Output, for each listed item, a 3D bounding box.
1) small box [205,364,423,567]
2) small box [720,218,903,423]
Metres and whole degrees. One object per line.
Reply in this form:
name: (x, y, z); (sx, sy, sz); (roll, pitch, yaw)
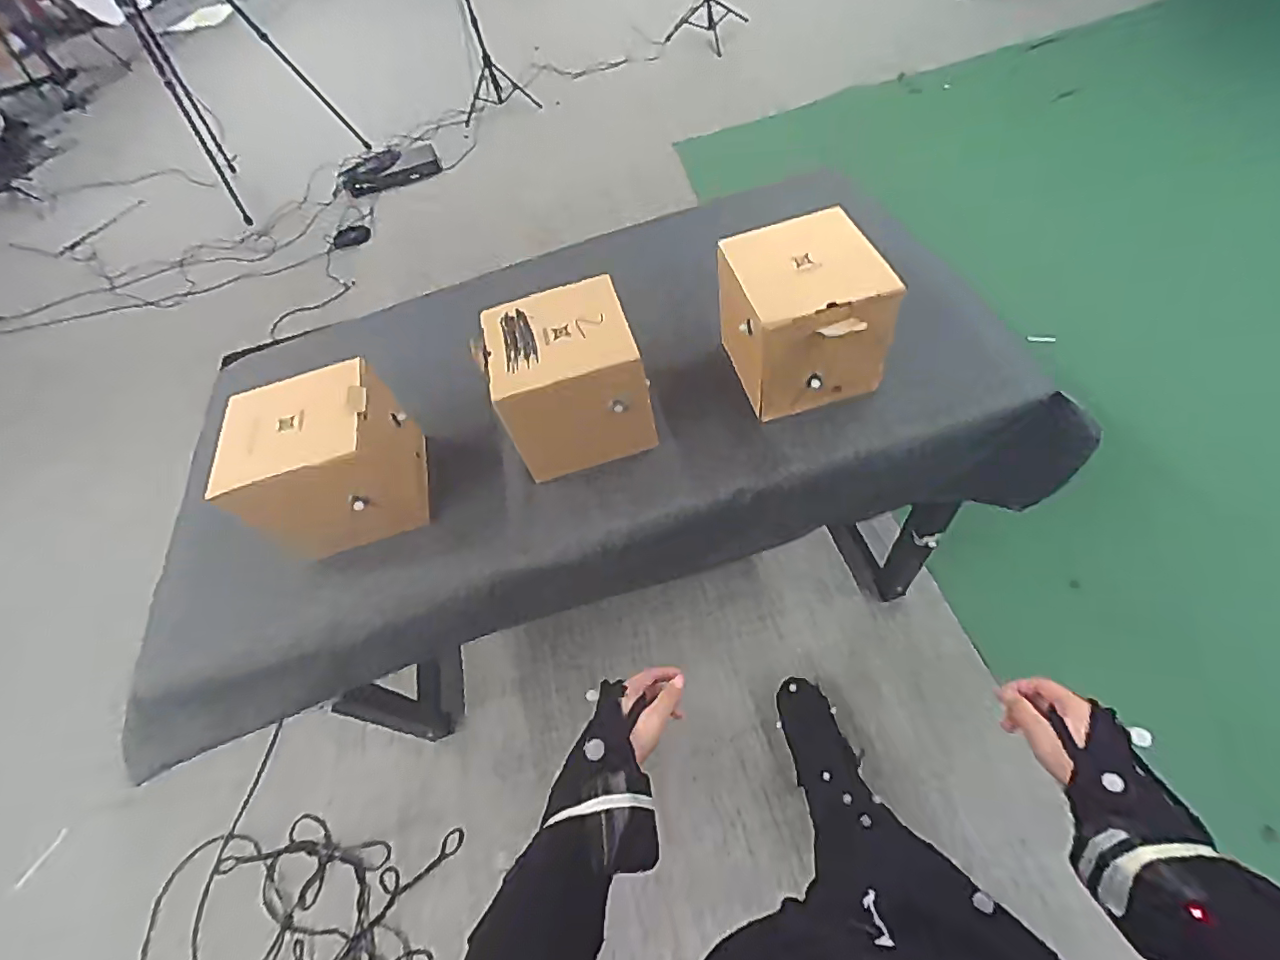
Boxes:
small box: (-0.396, -0.014, 0.697); (0.179, 0.176, 0.168); (-19, 54, -1)
small box: (0.209, -0.205, 0.713); (0.168, 0.176, 0.179); (-16, 55, 0)
